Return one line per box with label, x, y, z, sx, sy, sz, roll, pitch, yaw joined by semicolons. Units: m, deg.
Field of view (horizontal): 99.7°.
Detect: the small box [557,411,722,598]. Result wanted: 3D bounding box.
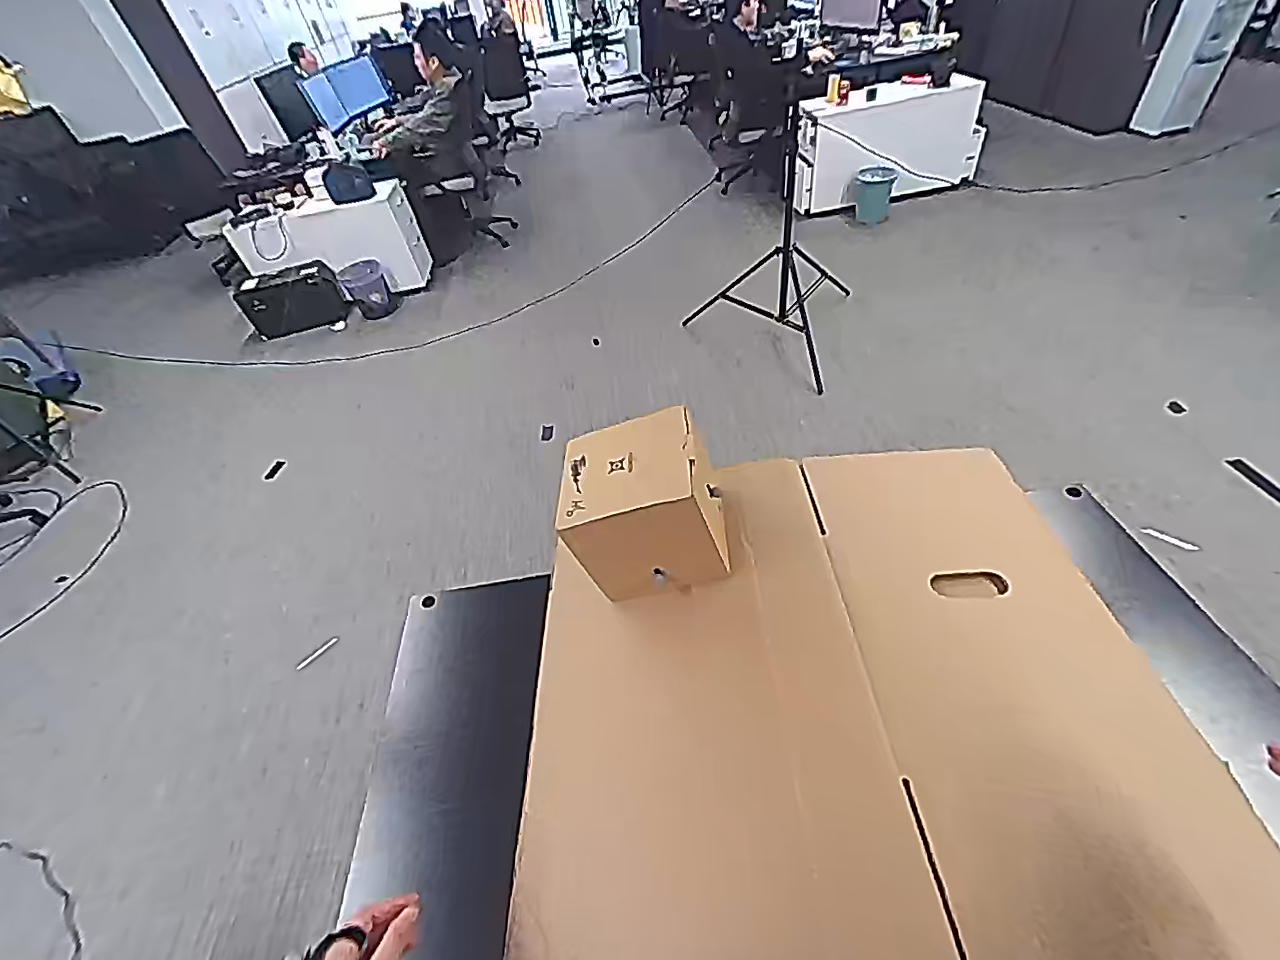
small box;0.009;0.039;0.737;0.179;0.176;0.168;-15;43;14
